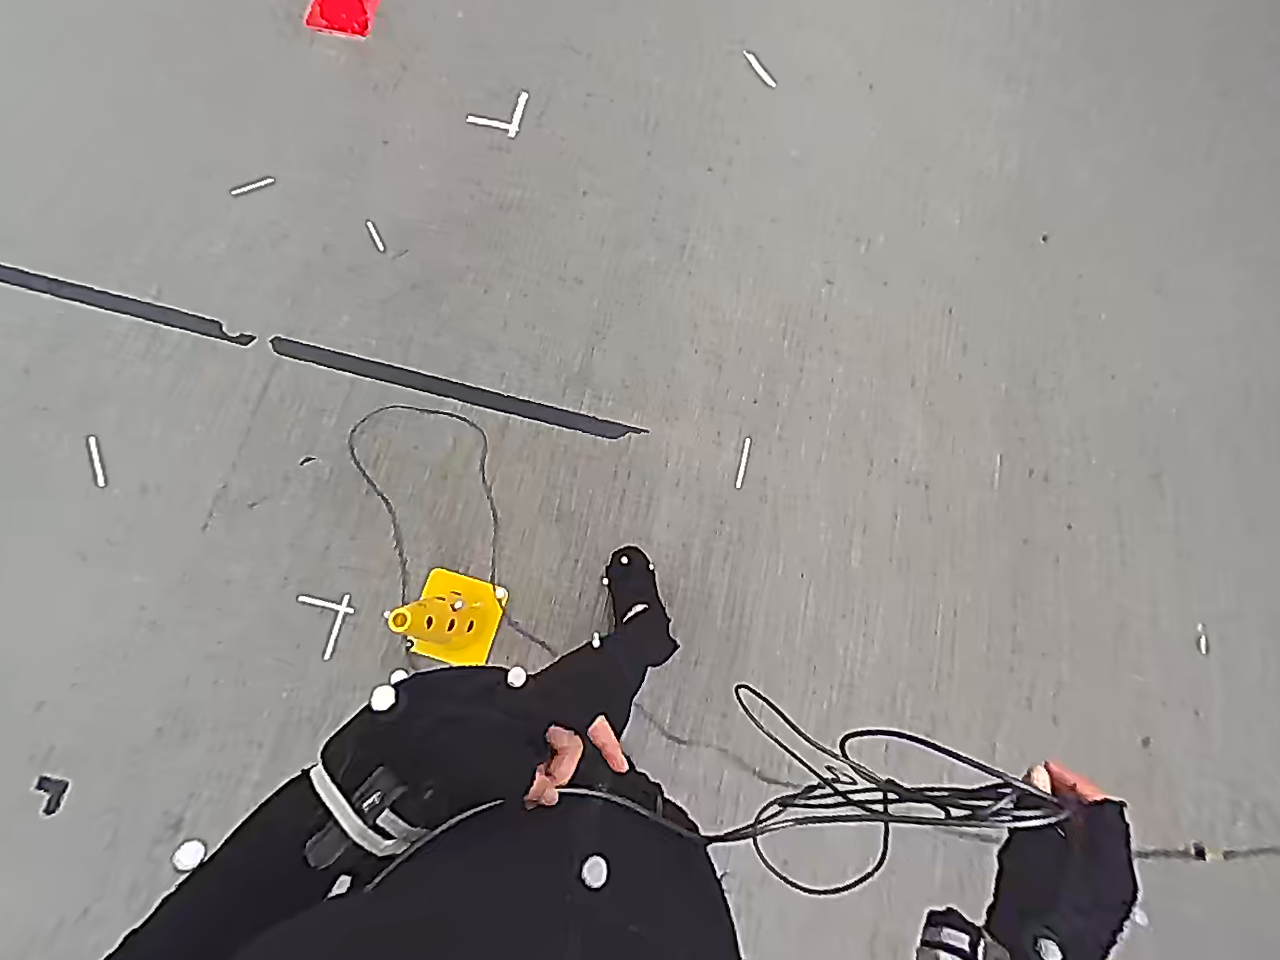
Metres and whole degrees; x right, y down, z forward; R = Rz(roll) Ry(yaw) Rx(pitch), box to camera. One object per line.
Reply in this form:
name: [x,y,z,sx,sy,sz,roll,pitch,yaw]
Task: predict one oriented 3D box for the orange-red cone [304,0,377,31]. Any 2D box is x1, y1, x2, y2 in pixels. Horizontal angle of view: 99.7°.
orange-red cone: [-0.940,-1.545,1.544,0.199,0.360,0.198,10,76,2]
